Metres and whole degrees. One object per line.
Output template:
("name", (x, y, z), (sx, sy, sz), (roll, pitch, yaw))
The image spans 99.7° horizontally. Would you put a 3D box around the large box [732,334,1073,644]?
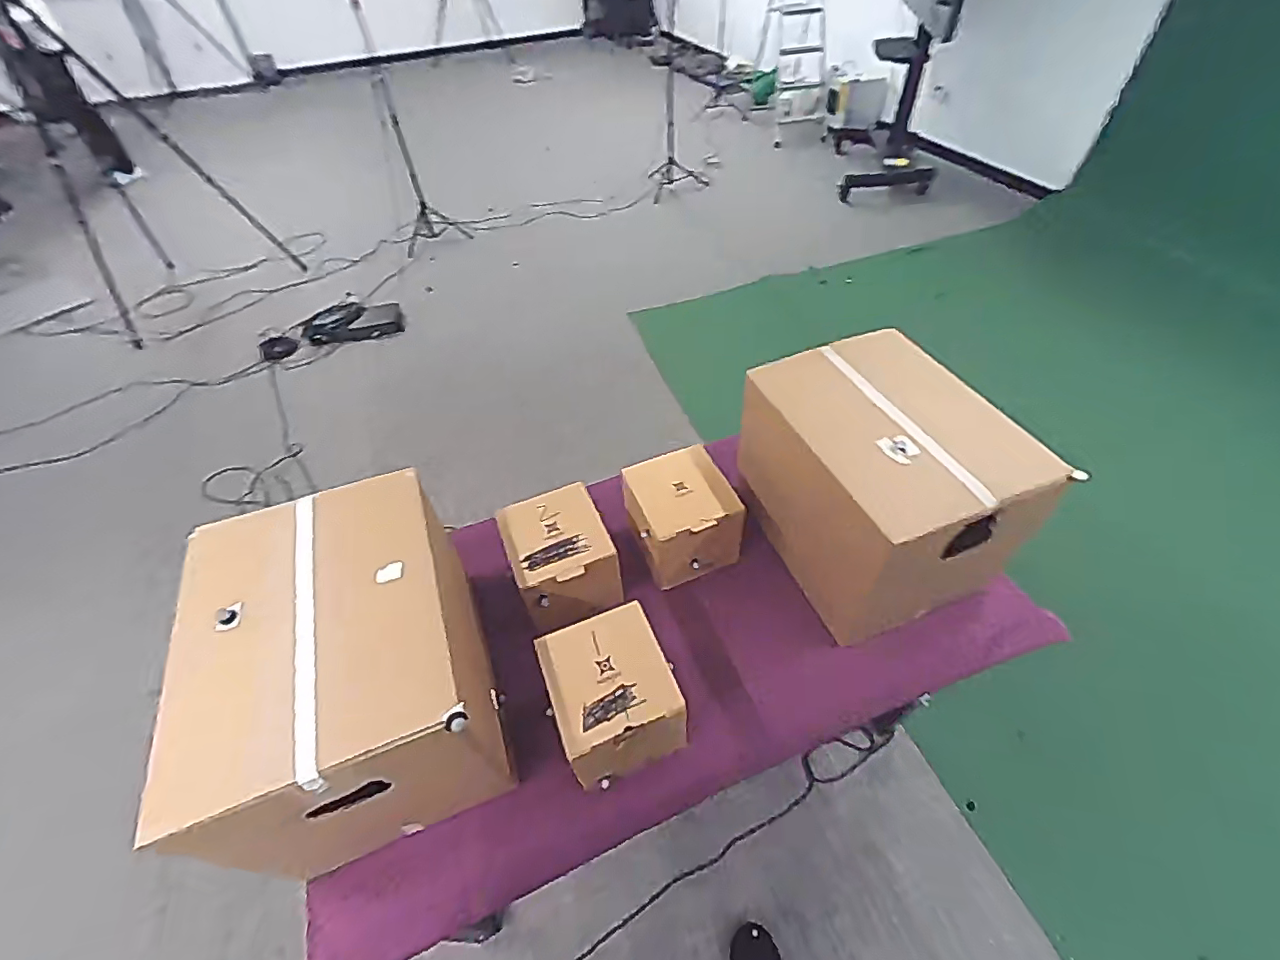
("large box", (0.403, 0.005, 0.962), (0.320, 0.320, 0.408), (-19, 51, -12))
